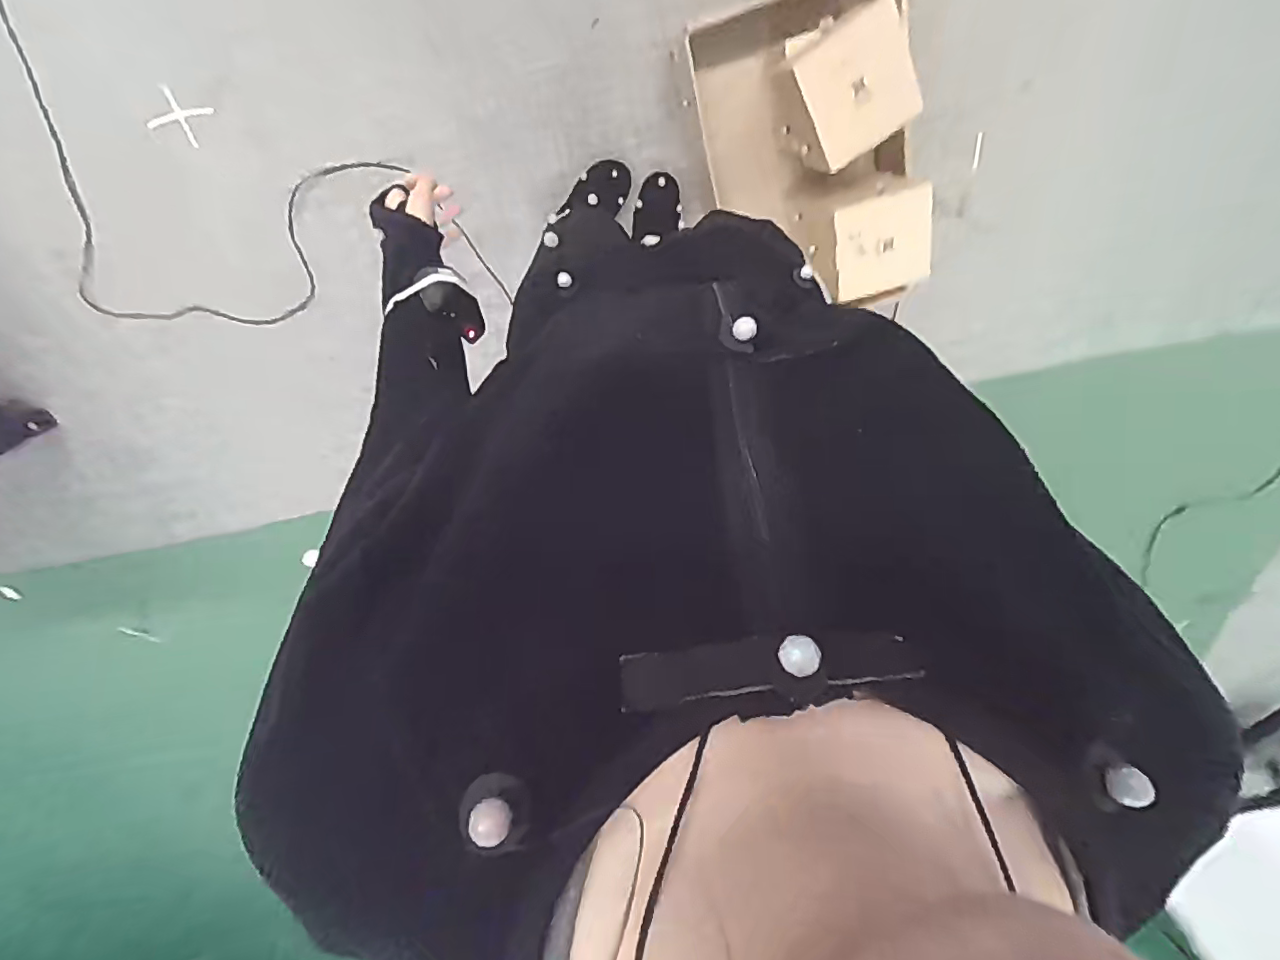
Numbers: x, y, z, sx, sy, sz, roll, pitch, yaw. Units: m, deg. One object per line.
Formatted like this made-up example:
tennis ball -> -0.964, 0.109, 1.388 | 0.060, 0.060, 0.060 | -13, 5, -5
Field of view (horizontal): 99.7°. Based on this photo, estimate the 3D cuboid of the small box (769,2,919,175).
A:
small box -> 0.345, -0.667, 0.934 | 0.168, 0.176, 0.179 | -29, 121, 16

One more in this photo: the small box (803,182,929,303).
small box -> 0.437, -0.472, 1.063 | 0.179, 0.176, 0.168 | -13, 122, 5
